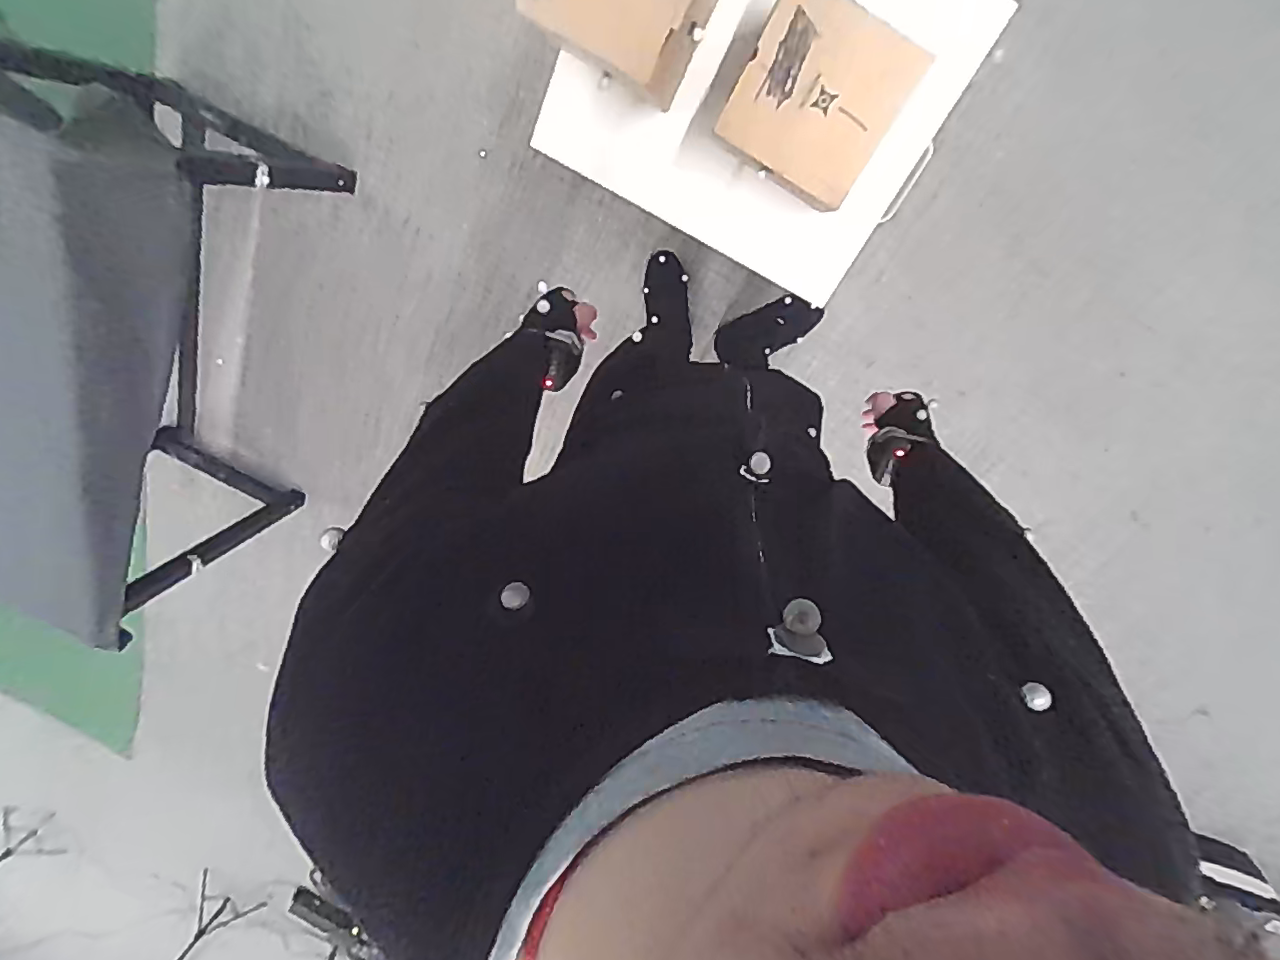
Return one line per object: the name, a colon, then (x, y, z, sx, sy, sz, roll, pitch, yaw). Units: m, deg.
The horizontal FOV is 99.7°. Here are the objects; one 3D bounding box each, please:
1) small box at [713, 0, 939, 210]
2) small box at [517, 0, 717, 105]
small box: (0.210, -0.445, 0.651, 0.179, 0.176, 0.168, 31, 118, -3)
small box: (-0.012, -0.578, 0.641, 0.179, 0.176, 0.168, 29, 118, -3)
